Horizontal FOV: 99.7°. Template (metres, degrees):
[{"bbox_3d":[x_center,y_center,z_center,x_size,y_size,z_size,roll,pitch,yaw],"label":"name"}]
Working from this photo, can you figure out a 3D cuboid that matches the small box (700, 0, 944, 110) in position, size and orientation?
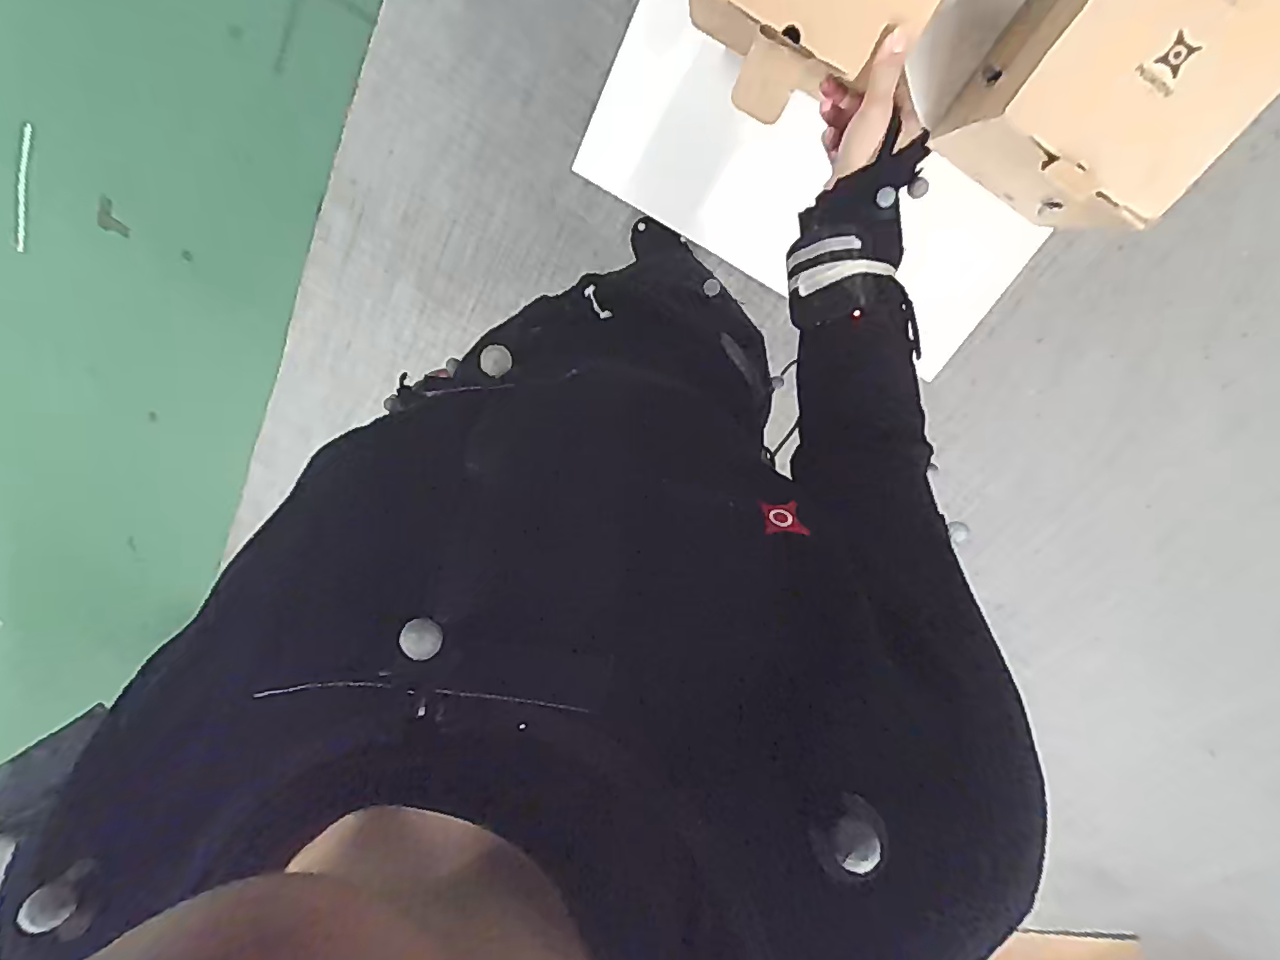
[{"bbox_3d":[0.152,-0.422,0.418,0.168,0.176,0.179,24,122,-9],"label":"small box"}]

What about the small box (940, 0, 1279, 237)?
[{"bbox_3d":[0.404,-0.342,0.481,0.168,0.176,0.179,30,114,-9],"label":"small box"}]
